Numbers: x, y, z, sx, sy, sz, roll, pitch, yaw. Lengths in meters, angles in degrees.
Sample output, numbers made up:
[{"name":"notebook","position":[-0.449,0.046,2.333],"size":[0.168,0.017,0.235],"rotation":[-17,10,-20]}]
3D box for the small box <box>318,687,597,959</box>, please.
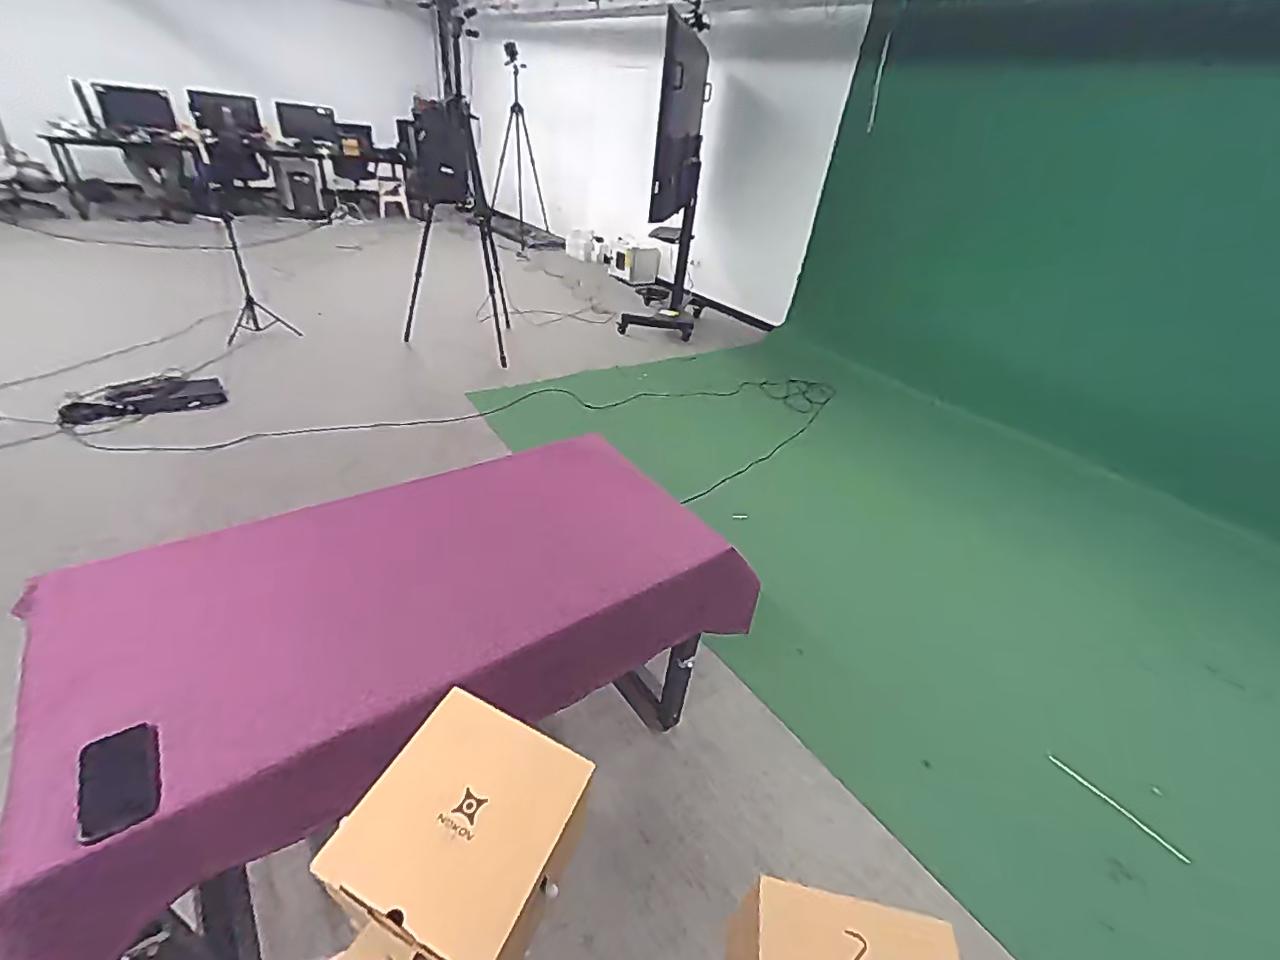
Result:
[{"name":"small box","position":[-0.160,0.344,0.517],"size":[0.168,0.176,0.179],"rotation":[23,42,13]}]
